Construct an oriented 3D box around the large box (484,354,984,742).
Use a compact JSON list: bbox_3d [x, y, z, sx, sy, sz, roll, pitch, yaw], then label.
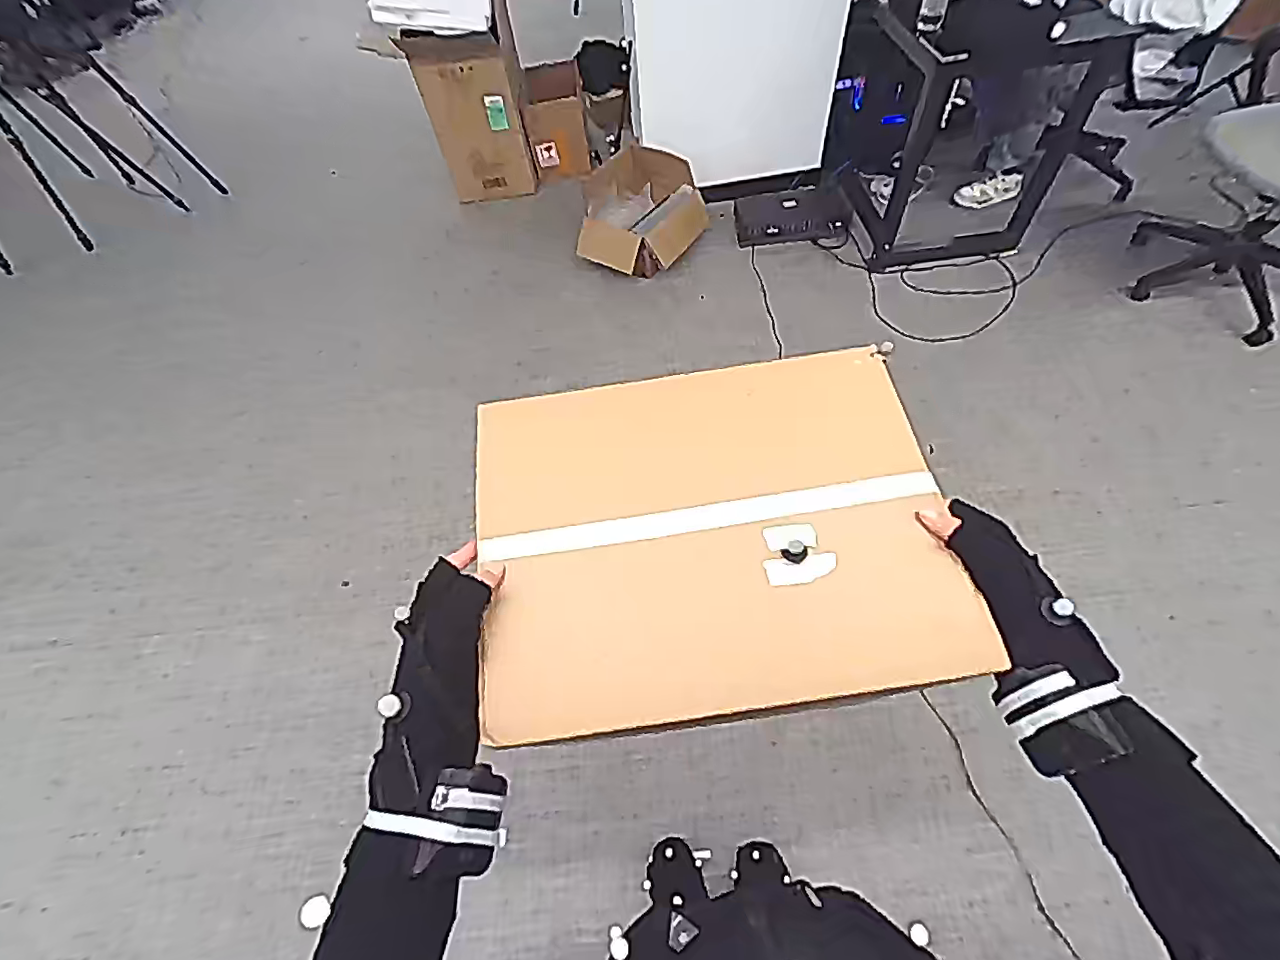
[{"bbox_3d":[0.065,0.101,0.622,0.408,0.320,0.320,-9,64,0],"label":"large box"}]
